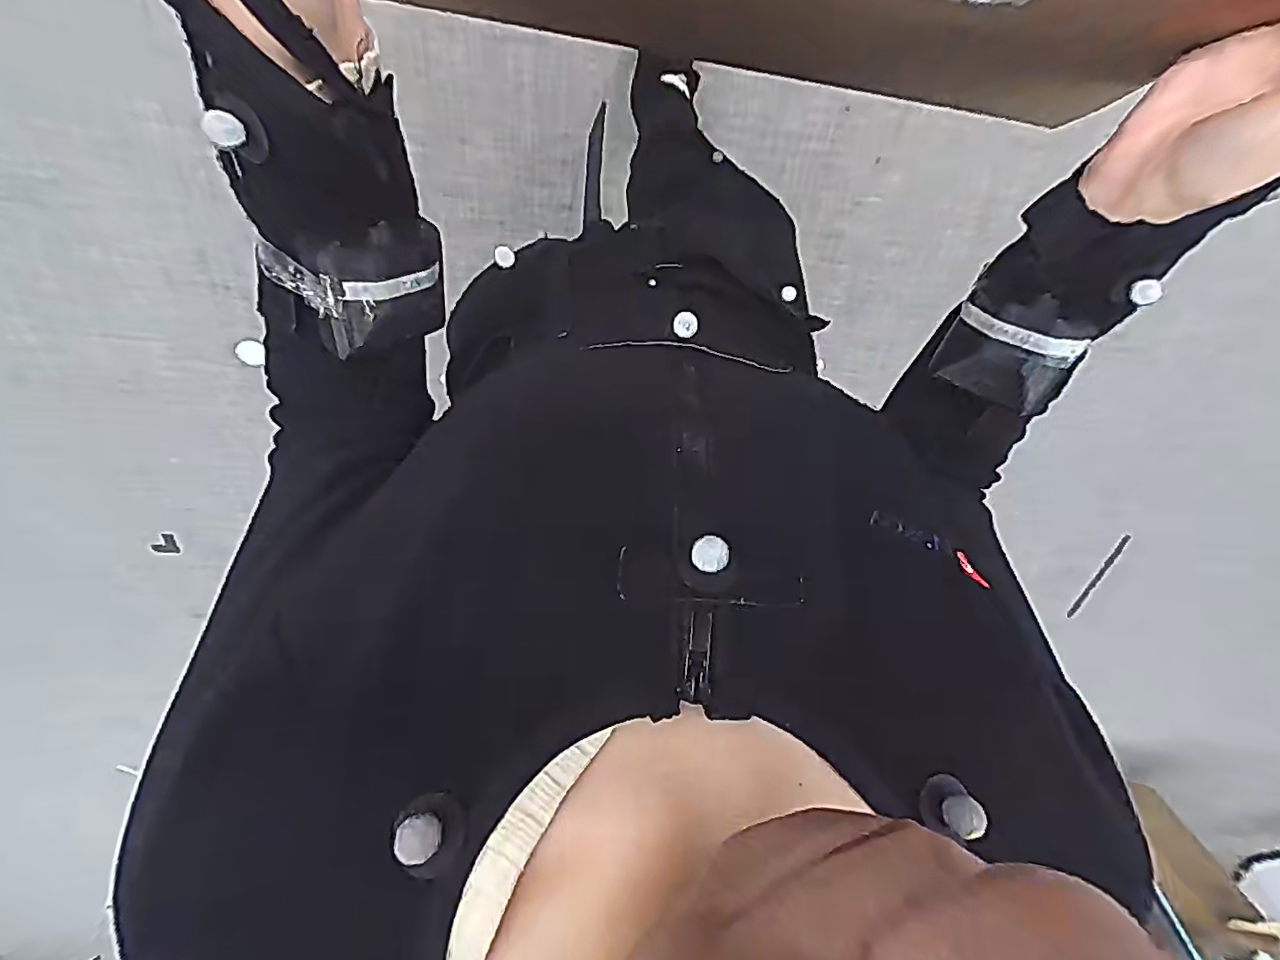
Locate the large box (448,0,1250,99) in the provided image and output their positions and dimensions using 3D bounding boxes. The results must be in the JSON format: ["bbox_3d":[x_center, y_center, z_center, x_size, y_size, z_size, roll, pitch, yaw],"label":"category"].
[{"bbox_3d":[0.085,-0.359,0.129,0.408,0.320,0.320,3,103,-8],"label":"large box"}]
